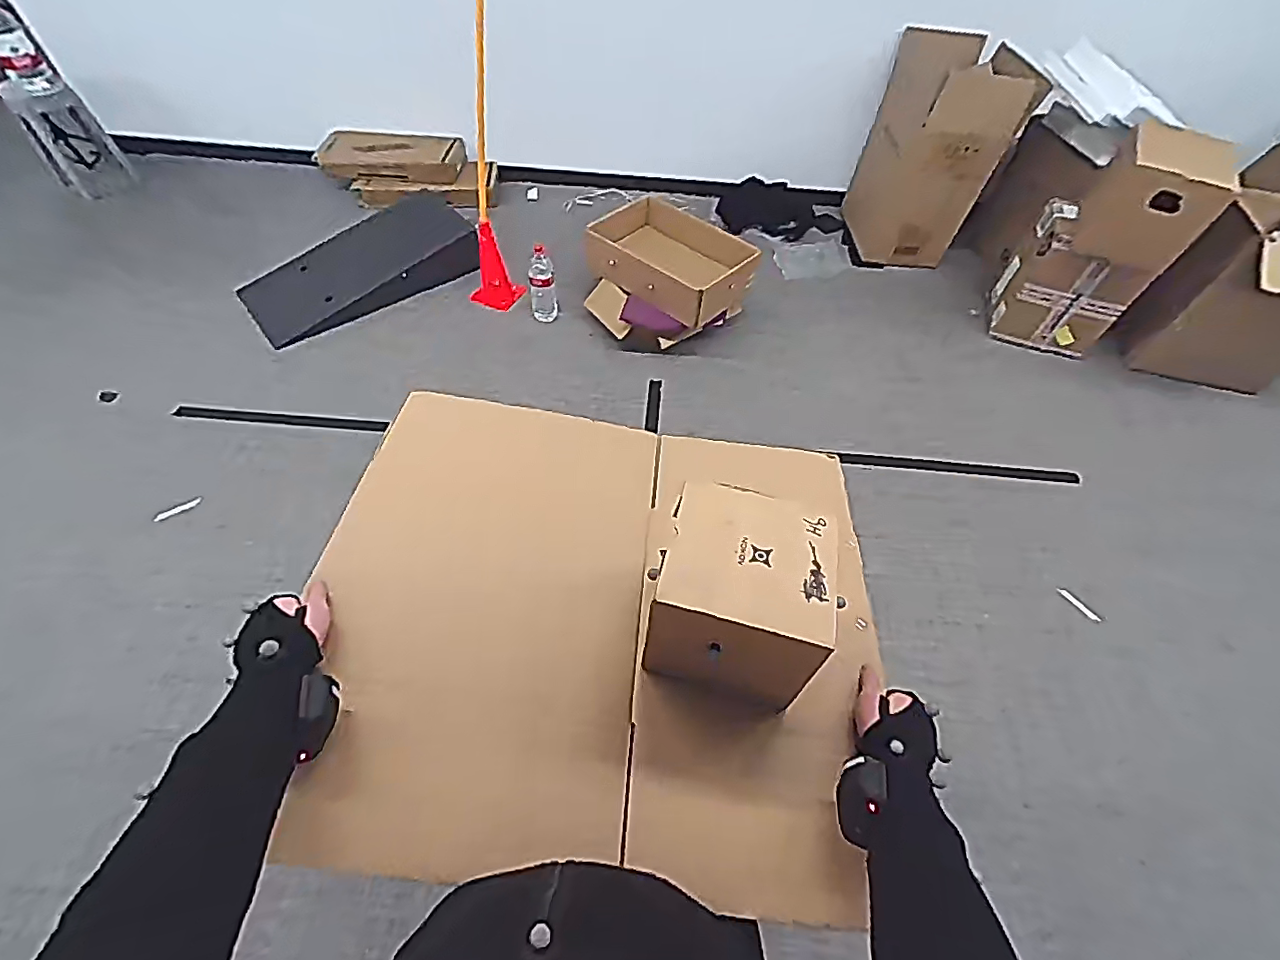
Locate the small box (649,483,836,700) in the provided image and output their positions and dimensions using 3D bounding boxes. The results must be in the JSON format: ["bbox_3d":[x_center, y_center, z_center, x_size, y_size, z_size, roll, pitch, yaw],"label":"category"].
[{"bbox_3d":[0.112,0.132,0.625,0.179,0.176,0.168,13,50,7],"label":"small box"}]
